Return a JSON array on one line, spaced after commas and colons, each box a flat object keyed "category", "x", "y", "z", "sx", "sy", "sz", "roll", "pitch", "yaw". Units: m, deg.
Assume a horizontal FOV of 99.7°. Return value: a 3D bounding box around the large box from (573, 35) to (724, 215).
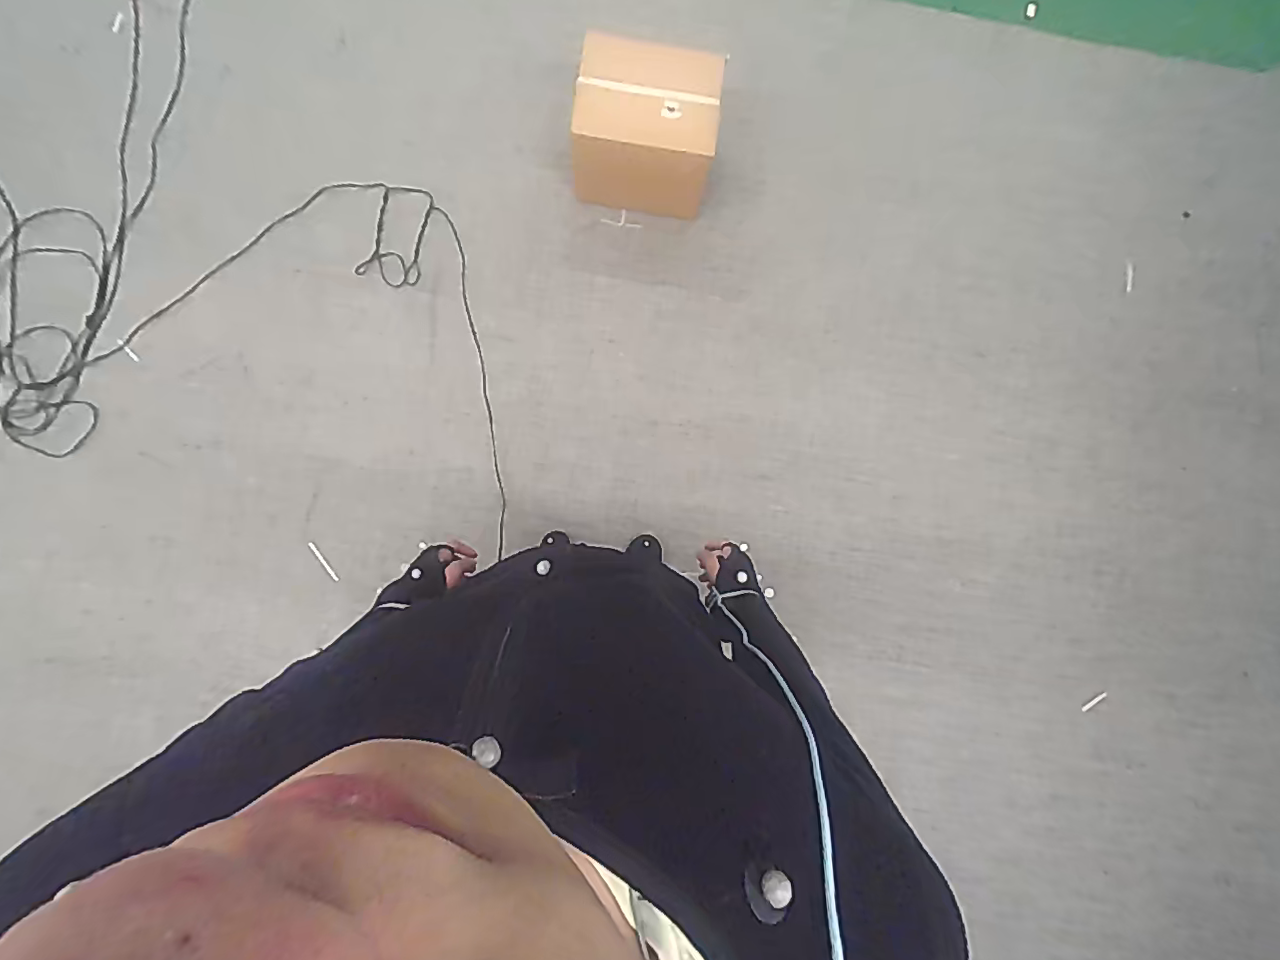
[{"category": "large box", "x": 0.016, "y": -1.066, "z": 1.658, "sx": 0.408, "sy": 0.320, "sz": 0.320, "roll": 7, "pitch": 84, "yaw": -3}]
